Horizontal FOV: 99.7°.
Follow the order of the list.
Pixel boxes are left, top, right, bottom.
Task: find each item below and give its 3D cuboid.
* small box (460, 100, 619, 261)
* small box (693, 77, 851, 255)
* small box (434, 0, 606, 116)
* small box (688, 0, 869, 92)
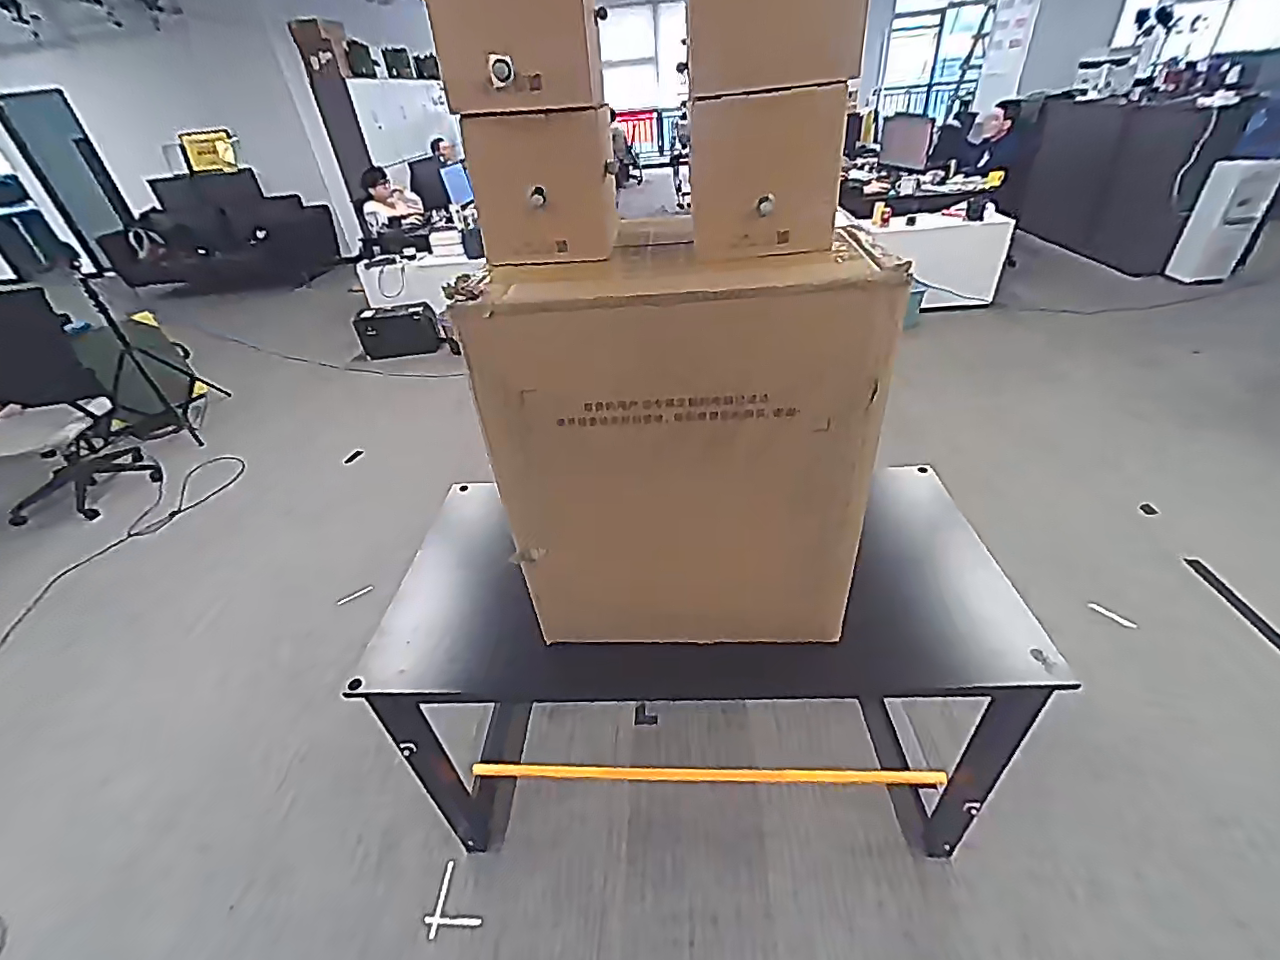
[{"bbox_3d":[-0.119,-0.402,0.730,0.168,0.176,0.179,-1,36,3],"label":"small box"},{"bbox_3d":[0.151,-0.393,0.681,0.168,0.176,0.179,-3,36,6],"label":"small box"},{"bbox_3d":[-0.131,-0.526,0.623,0.168,0.176,0.179,-3,36,3],"label":"small box"},{"bbox_3d":[0.140,-0.522,0.579,0.179,0.176,0.168,-3,36,5],"label":"small box"}]
